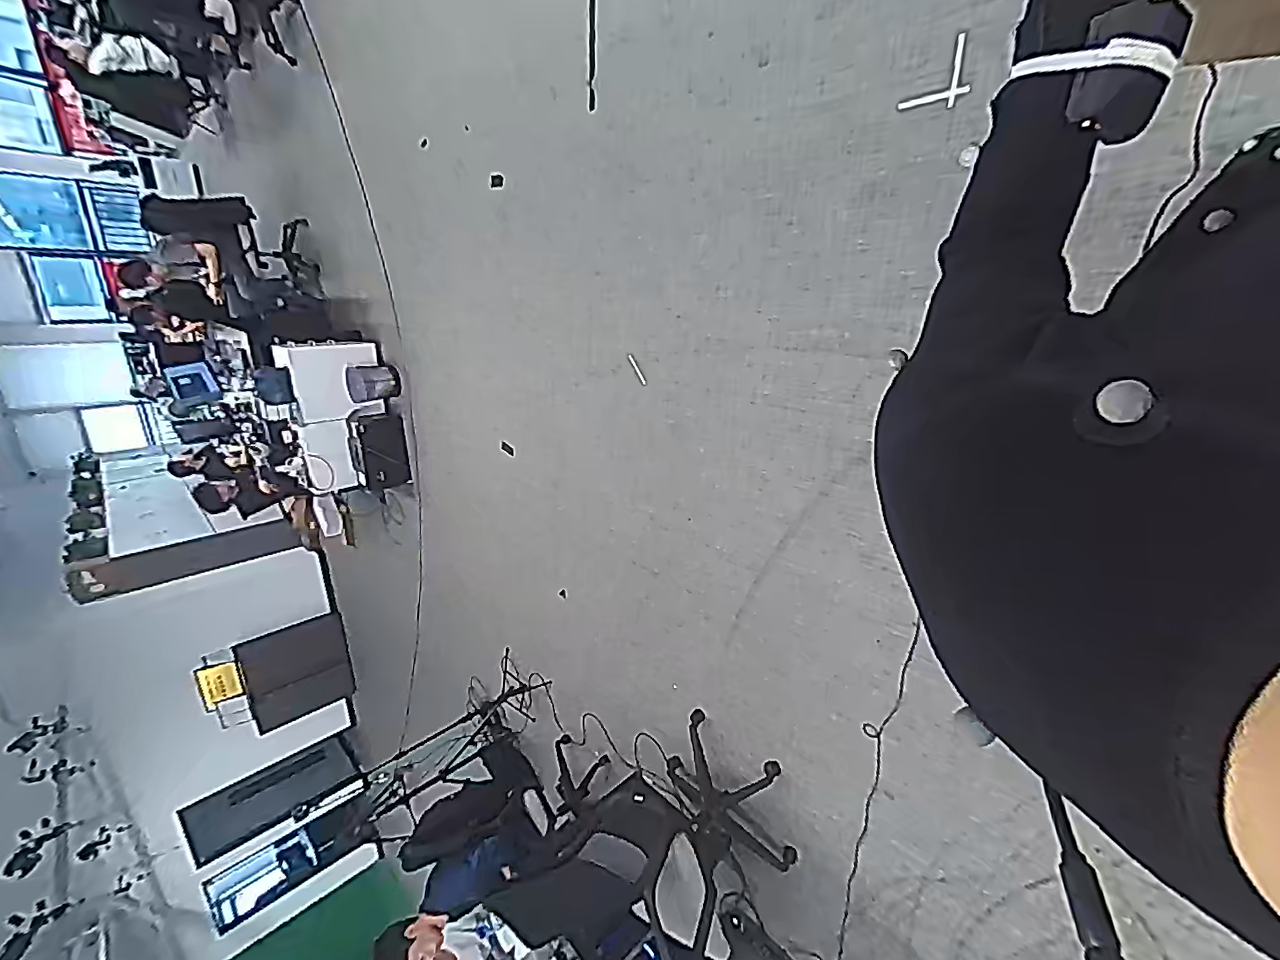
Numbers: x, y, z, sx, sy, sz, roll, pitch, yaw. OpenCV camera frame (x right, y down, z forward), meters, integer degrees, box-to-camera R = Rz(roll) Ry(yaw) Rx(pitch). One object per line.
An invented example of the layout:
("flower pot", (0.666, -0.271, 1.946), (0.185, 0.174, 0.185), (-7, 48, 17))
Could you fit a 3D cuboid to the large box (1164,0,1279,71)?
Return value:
("large box", (0.571, -0.442, 0.254), (0.408, 0.320, 0.320), (23, 124, 39))
